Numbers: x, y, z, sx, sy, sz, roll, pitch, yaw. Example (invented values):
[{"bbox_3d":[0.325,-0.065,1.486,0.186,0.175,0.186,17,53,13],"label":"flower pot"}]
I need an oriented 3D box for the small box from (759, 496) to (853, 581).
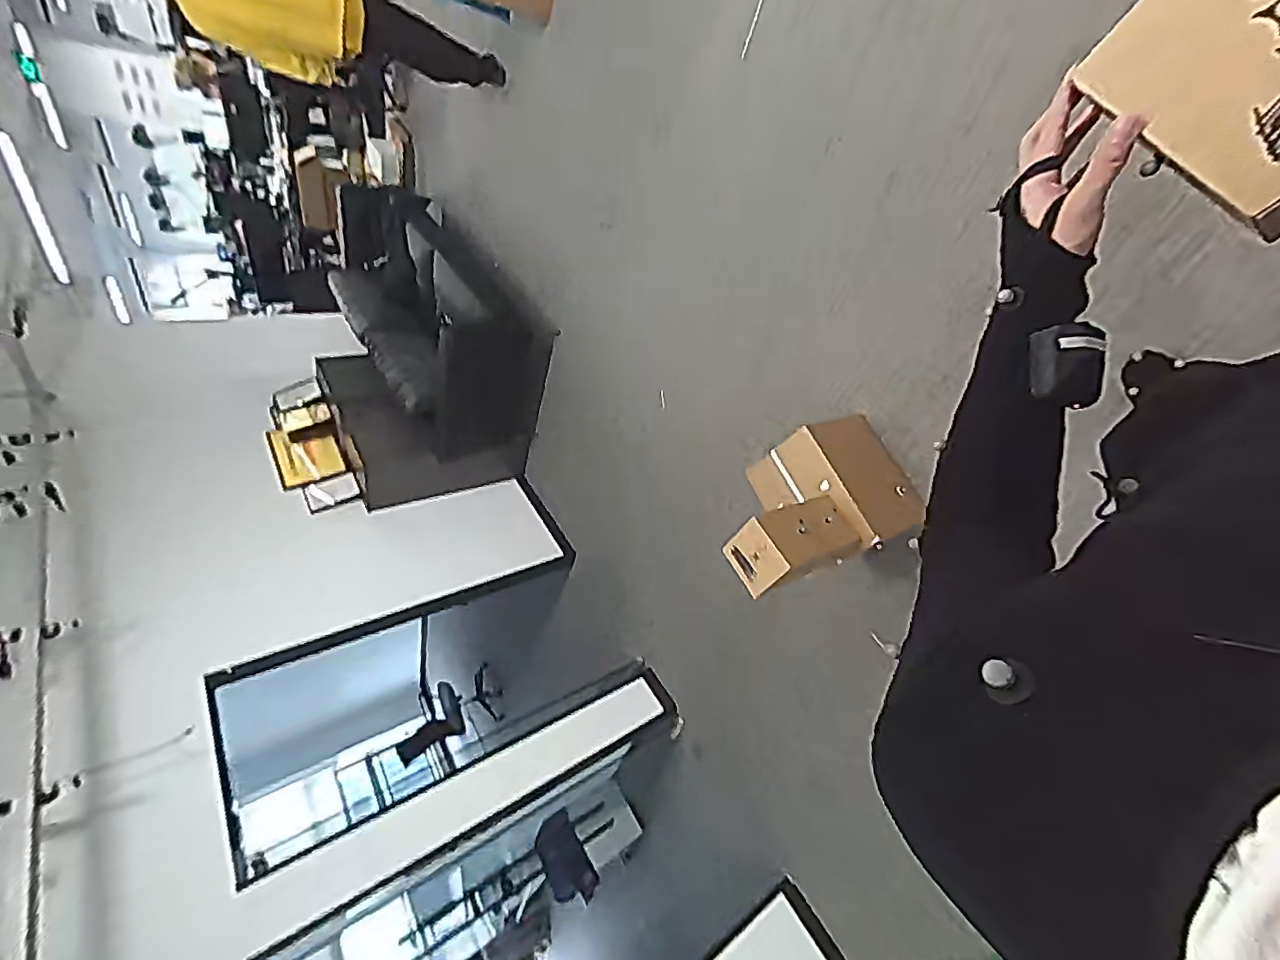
[{"bbox_3d":[0.493,0.167,1.587,0.168,0.176,0.179,58,140,23],"label":"small box"}]
